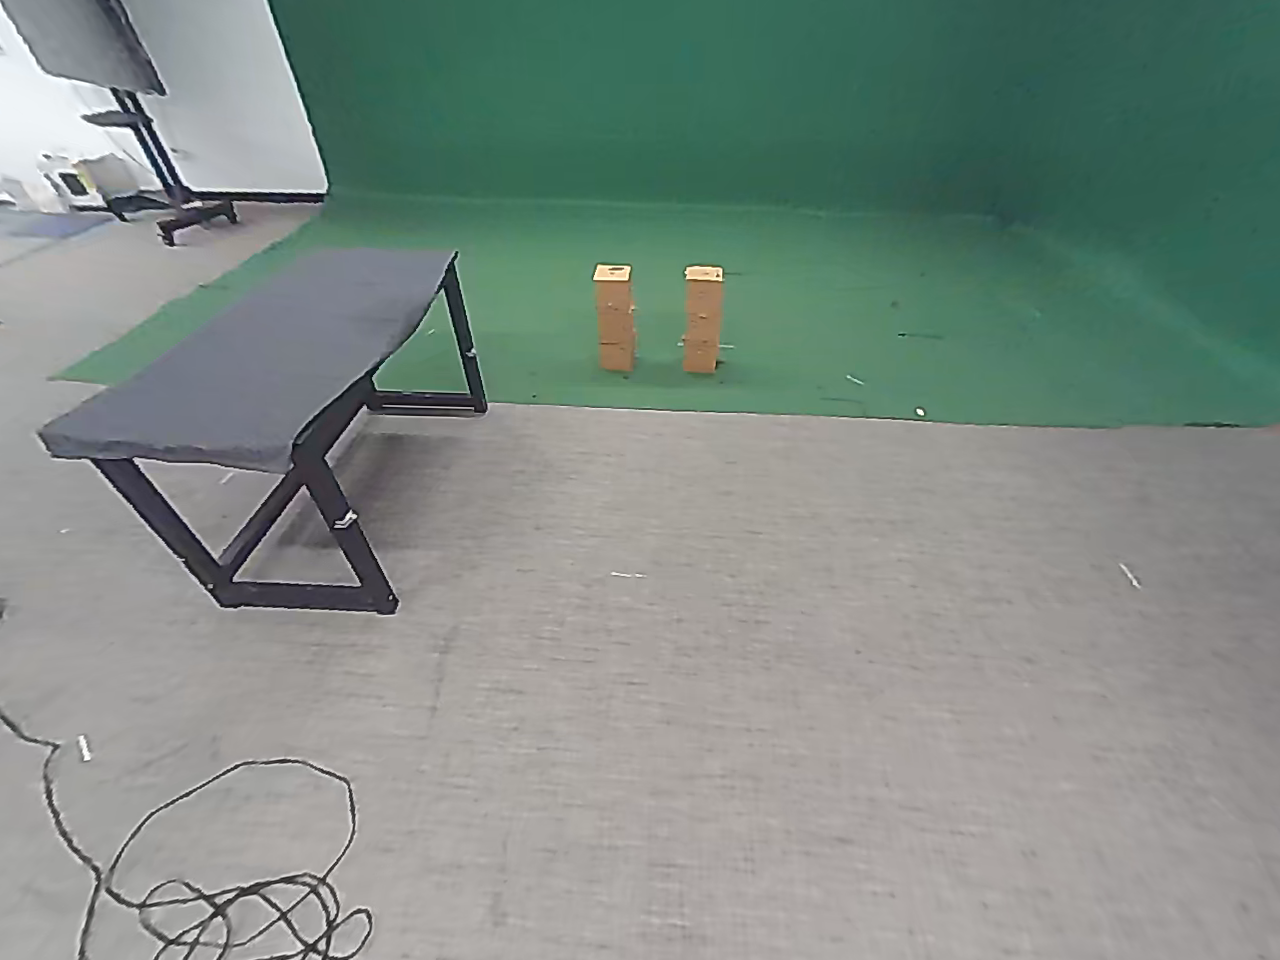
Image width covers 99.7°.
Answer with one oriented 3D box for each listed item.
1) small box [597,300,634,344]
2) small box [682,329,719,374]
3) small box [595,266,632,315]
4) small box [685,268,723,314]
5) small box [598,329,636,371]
[{"bbox_3d":[-0.123,-0.805,2.757,0.179,0.176,0.168,1,42,1],"label":"small box"},{"bbox_3d":[0.322,-0.679,2.863,0.179,0.176,0.168,5,43,6],"label":"small box"},{"bbox_3d":[-0.128,-0.930,2.649,0.168,0.176,0.179,3,43,3],"label":"small box"},{"bbox_3d":[0.311,-0.922,2.642,0.179,0.176,0.168,4,42,5],"label":"small box"},{"bbox_3d":[-0.120,-0.693,2.874,0.179,0.176,0.168,6,43,7],"label":"small box"}]
